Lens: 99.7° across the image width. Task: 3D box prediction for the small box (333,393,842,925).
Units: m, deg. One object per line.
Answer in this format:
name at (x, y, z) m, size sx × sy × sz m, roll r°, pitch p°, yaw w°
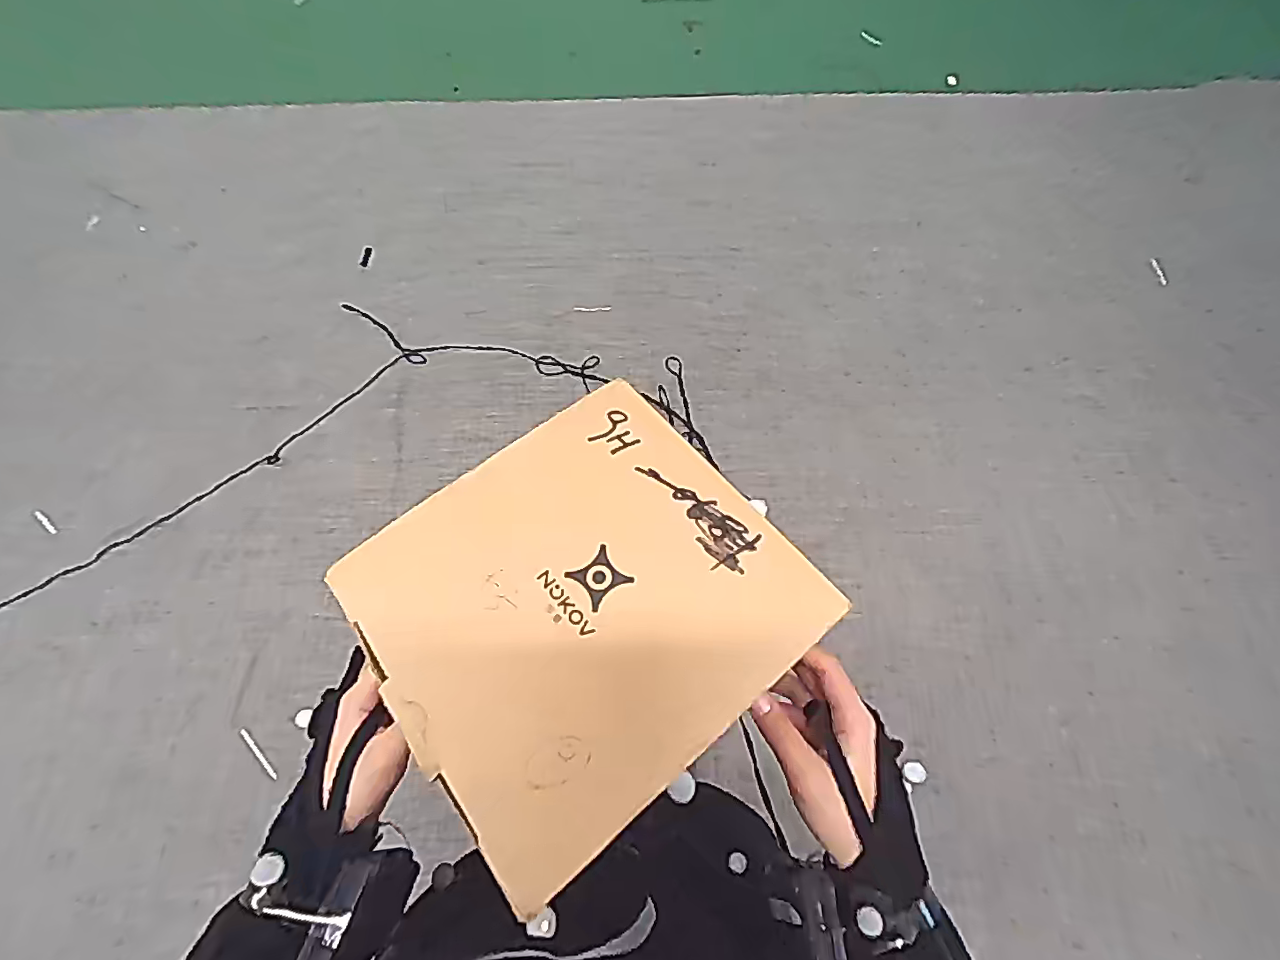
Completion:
small box at (-0.024, 0.092, 0.311) m, size 0.179 × 0.176 × 0.168 m, roll -36°, pitch 67°, yaw -16°
